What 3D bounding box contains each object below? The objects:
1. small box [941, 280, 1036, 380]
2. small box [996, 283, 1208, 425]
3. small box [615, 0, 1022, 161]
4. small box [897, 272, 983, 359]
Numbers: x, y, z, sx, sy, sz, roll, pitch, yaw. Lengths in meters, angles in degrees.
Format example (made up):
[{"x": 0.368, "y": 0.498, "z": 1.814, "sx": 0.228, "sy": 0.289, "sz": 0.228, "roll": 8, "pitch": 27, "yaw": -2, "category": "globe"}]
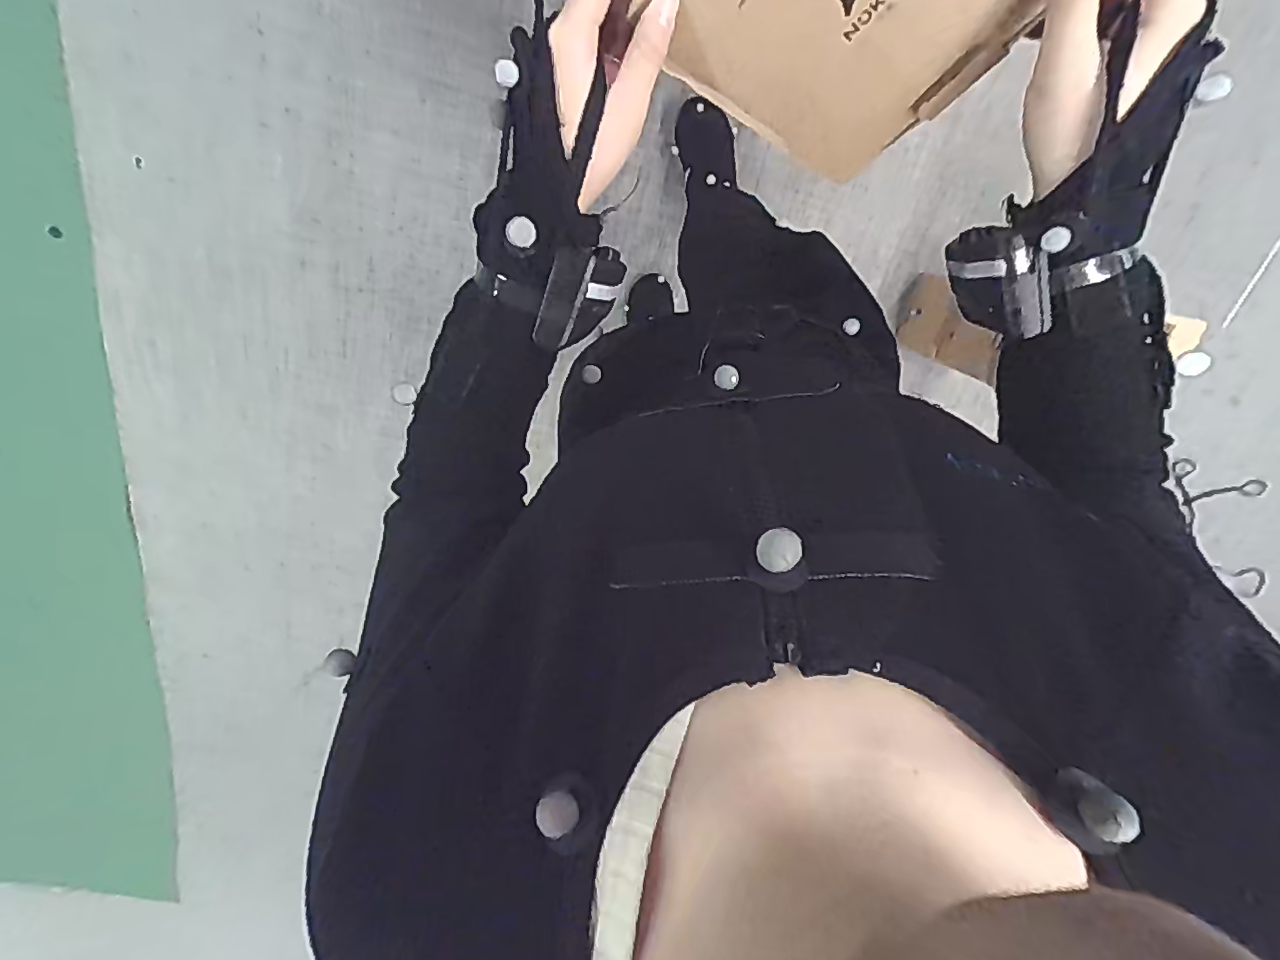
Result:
[{"x": 0.723, "y": -0.281, "z": 1.037, "sx": 0.179, "sy": 0.176, "sz": 0.168, "roll": 8, "pitch": 115, "yaw": -7, "category": "small box"}, {"x": 0.734, "y": -0.211, "z": 0.889, "sx": 0.168, "sy": 0.176, "sz": 0.179, "roll": 9, "pitch": 115, "yaw": -7, "category": "small box"}, {"x": 0.104, "y": -0.323, "z": 0.279, "sx": 0.179, "sy": 0.176, "sz": 0.168, "roll": 13, "pitch": 158, "yaw": -27, "category": "small box"}, {"x": 0.705, "y": -0.354, "z": 1.184, "sx": 0.179, "sy": 0.176, "sz": 0.168, "roll": 8, "pitch": 114, "yaw": -6, "category": "small box"}]
